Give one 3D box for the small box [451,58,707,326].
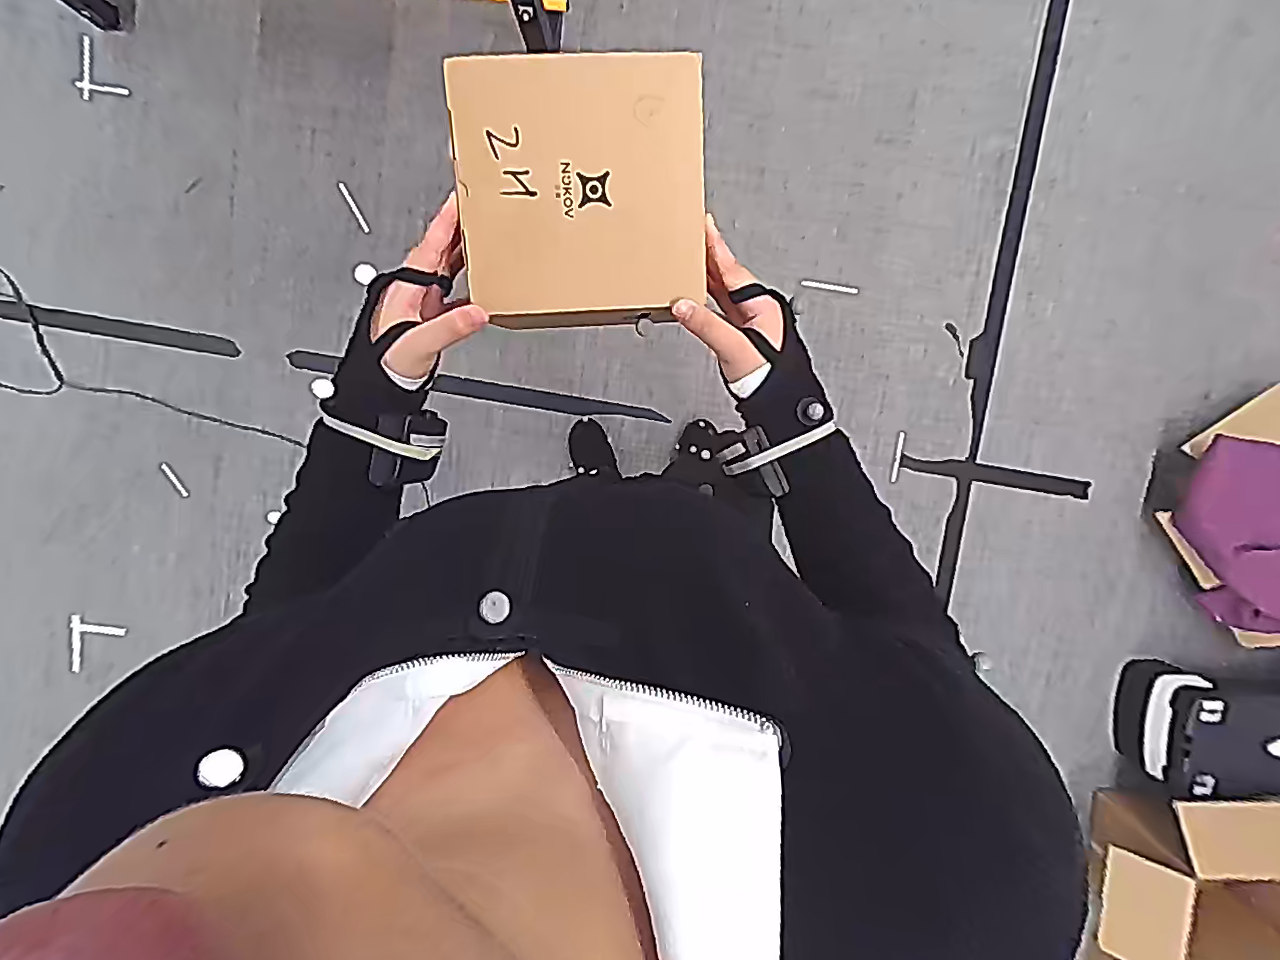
[{"bbox_3d":[-0.045,-0.223,0.463,0.179,0.176,0.168,-3,102,-3],"label":"small box"}]
